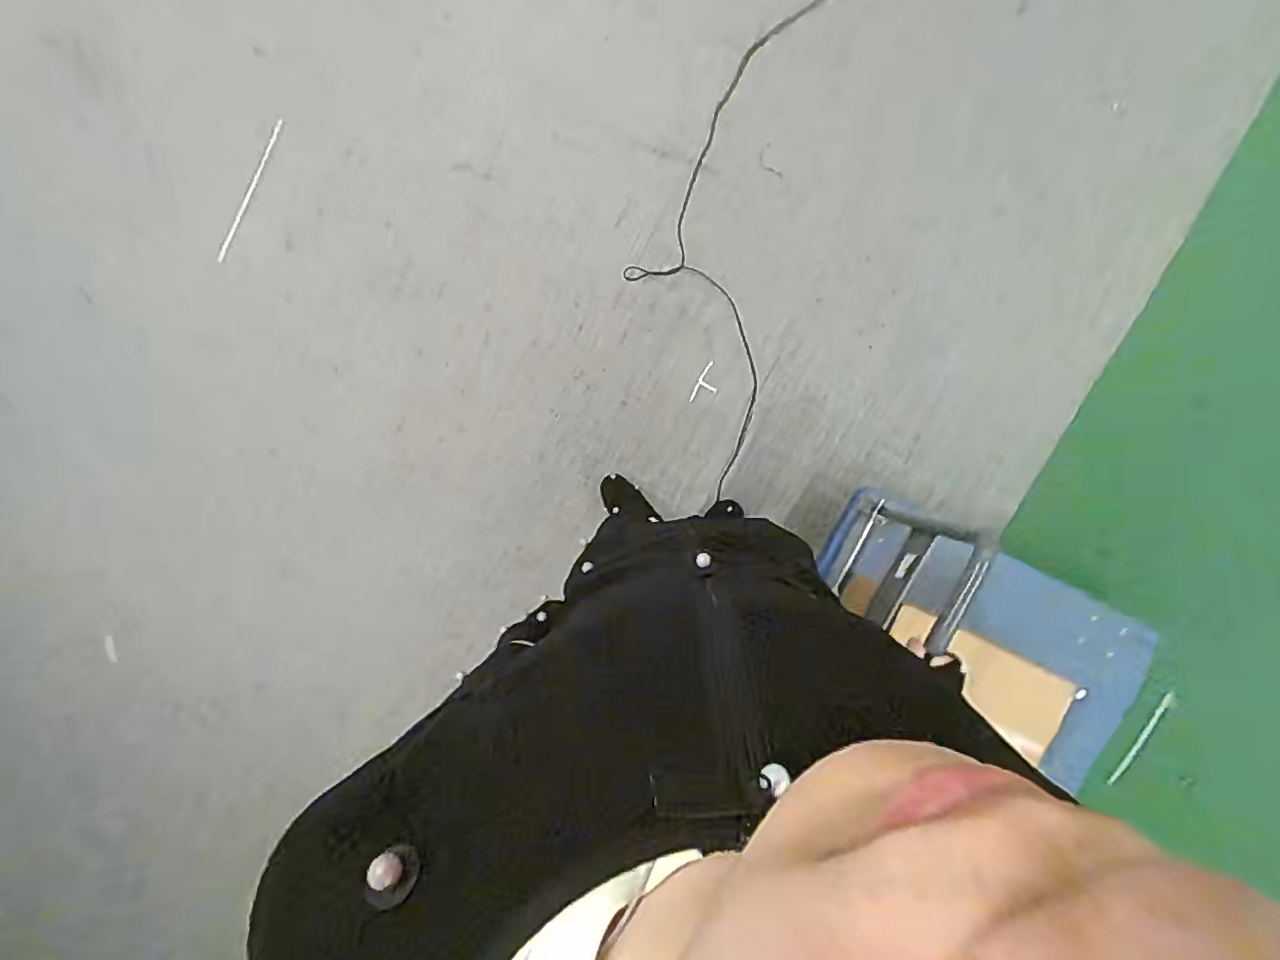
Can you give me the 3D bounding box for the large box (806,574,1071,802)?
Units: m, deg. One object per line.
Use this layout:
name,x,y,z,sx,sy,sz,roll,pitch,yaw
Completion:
large box,0.680,0.469,1.307,0.408,0.320,0.320,26,94,2
